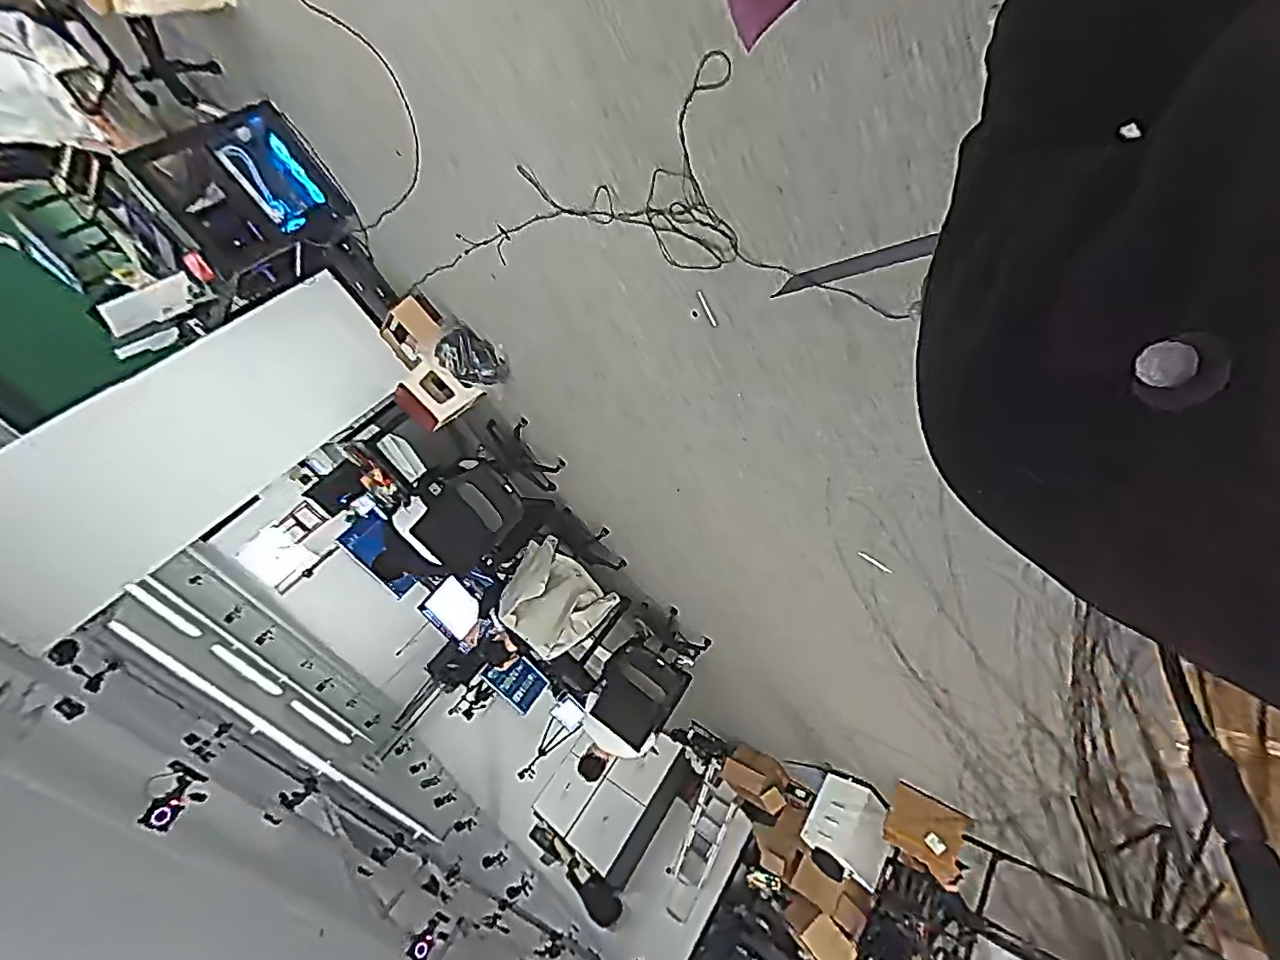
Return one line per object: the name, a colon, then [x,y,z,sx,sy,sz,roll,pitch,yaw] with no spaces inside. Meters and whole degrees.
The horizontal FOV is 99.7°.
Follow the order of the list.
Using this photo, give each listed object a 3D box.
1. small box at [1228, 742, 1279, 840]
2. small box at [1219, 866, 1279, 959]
small box: [1.688,0.832,1.429,0.179,0.176,0.168,2,133,50]
small box: [1.502,1.054,1.272,0.179,0.176,0.168,5,136,47]
